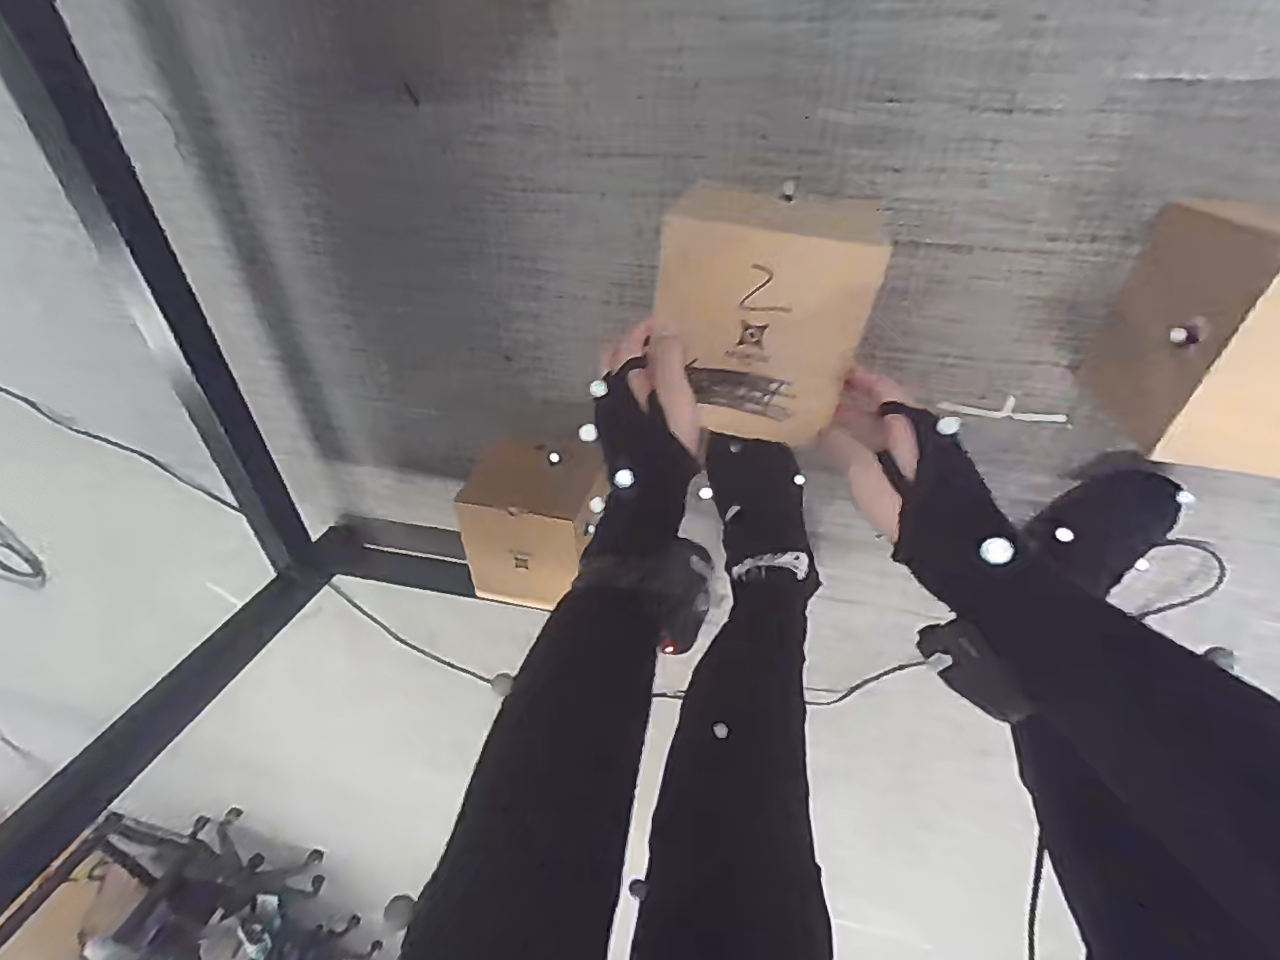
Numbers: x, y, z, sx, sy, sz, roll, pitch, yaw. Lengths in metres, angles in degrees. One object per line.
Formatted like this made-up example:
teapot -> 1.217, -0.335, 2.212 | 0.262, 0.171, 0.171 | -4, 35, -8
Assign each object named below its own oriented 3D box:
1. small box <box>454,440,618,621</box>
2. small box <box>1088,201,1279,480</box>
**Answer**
small box -> -0.133, 0.066, 0.769 | 0.168, 0.176, 0.179 | 7, 125, 13
small box -> 0.517, -0.116, 0.437 | 0.168, 0.176, 0.179 | 11, 127, 11
